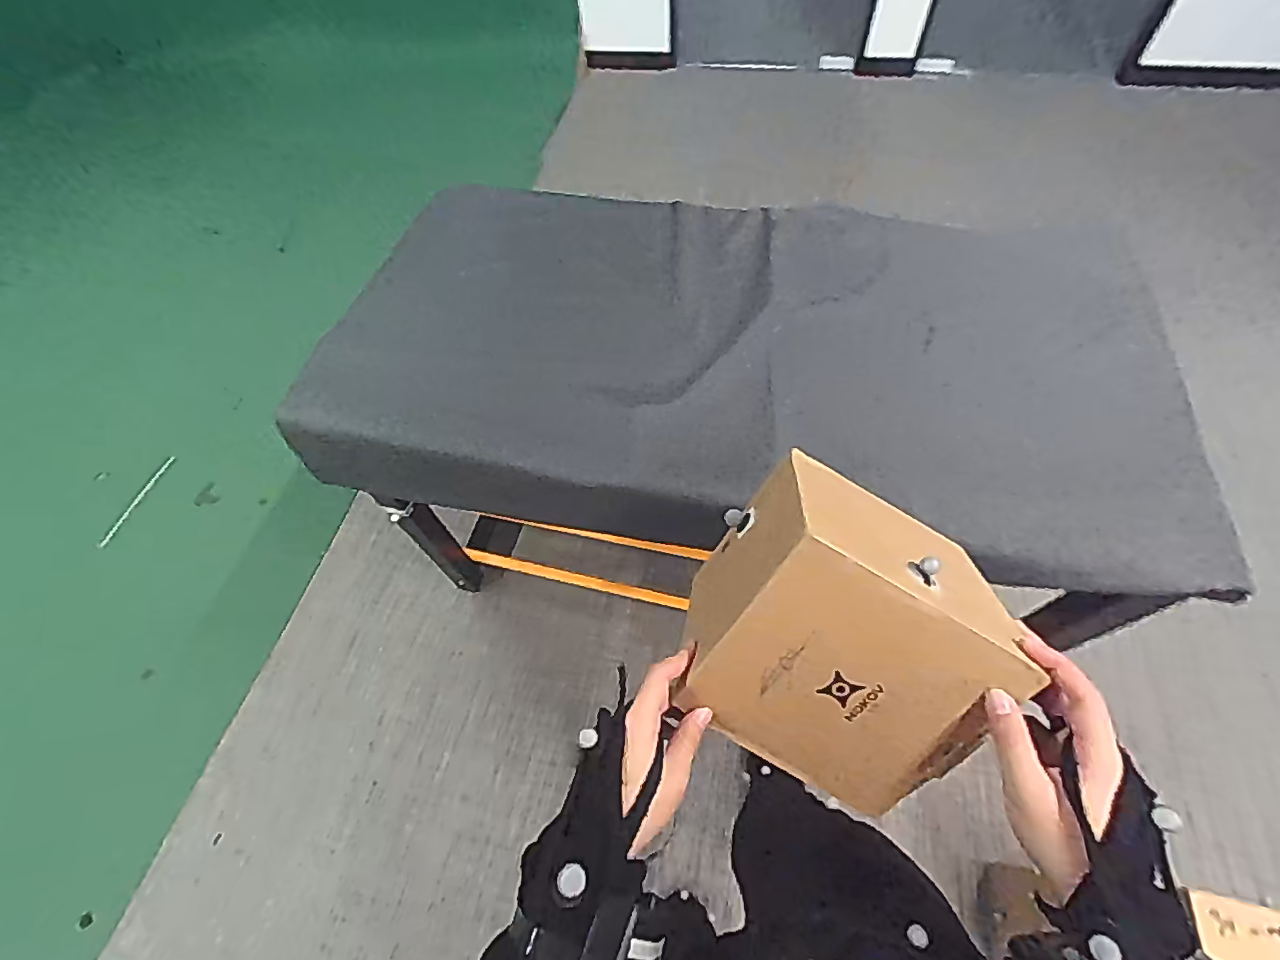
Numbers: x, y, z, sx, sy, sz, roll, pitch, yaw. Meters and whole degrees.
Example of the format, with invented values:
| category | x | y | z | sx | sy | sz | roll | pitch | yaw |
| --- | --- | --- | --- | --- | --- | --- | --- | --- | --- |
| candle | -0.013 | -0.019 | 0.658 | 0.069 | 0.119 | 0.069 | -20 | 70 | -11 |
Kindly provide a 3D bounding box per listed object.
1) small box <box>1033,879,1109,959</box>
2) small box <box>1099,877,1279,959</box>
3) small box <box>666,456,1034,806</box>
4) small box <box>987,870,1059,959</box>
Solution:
| category | x | y | z | sx | sy | sz | roll | pitch | yaw |
| --- | --- | --- | --- | --- | --- | --- | --- | --- | --- |
| small box | 0.703 | 0.695 | 0.777 | 0.179 | 0.176 | 0.168 | 9 | 59 | 9 |
| small box | 0.699 | 0.604 | 0.640 | 0.168 | 0.176 | 0.179 | 10 | 60 | 10 |
| small box | 0.144 | 0.103 | 0.430 | 0.179 | 0.168 | 0.176 | 30 | 23 | -1 |
| small box | 0.725 | 0.782 | 0.915 | 0.179 | 0.176 | 0.168 | 11 | 58 | 10 |
